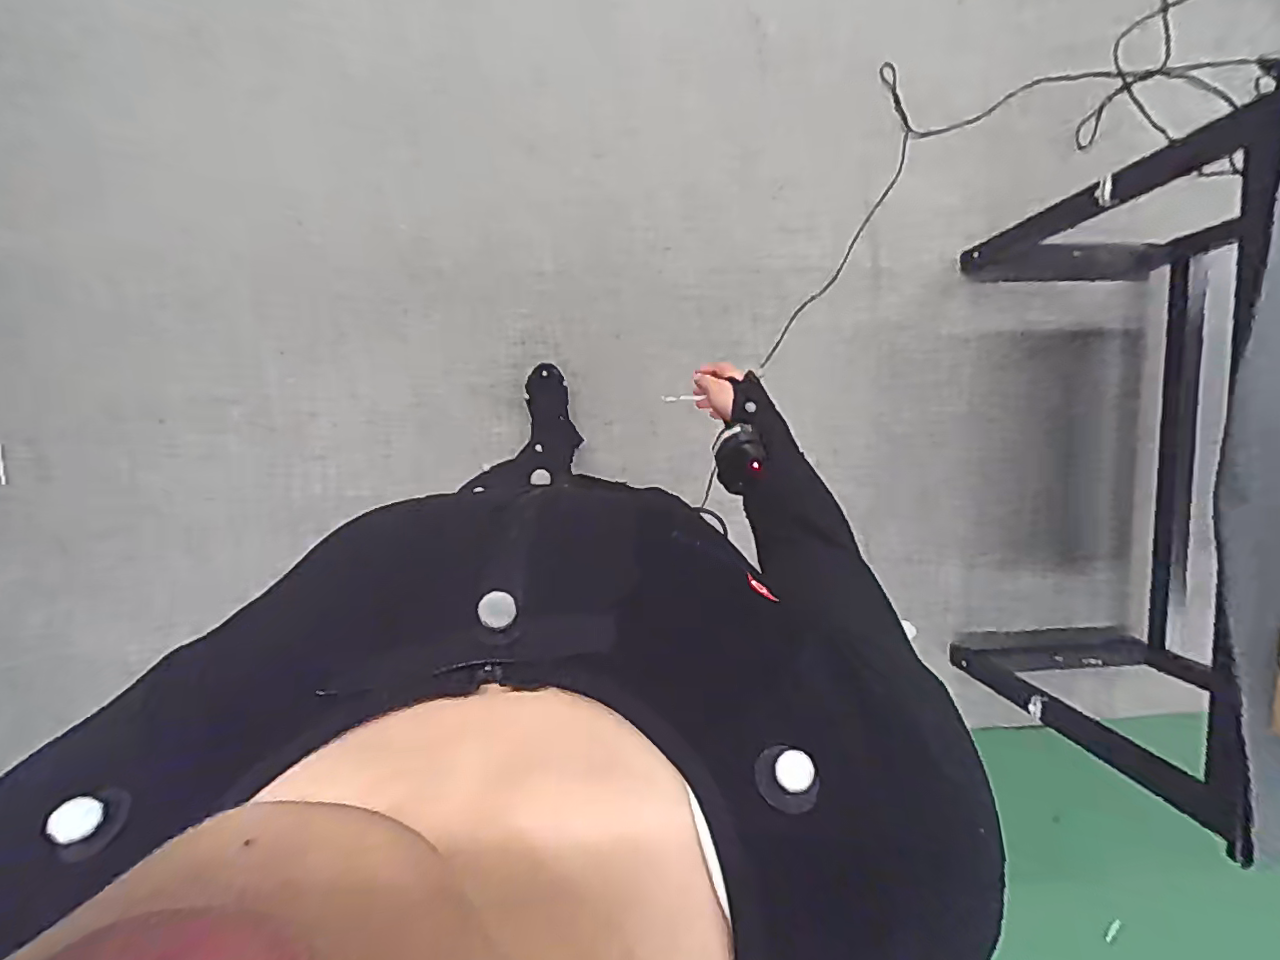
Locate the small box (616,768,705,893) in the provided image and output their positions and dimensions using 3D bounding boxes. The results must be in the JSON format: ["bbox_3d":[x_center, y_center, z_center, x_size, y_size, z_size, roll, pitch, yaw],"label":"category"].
[{"bbox_3d":[0.041,0.792,1.240,0.179,0.176,0.168,-9,93,-2],"label":"small box"}]
